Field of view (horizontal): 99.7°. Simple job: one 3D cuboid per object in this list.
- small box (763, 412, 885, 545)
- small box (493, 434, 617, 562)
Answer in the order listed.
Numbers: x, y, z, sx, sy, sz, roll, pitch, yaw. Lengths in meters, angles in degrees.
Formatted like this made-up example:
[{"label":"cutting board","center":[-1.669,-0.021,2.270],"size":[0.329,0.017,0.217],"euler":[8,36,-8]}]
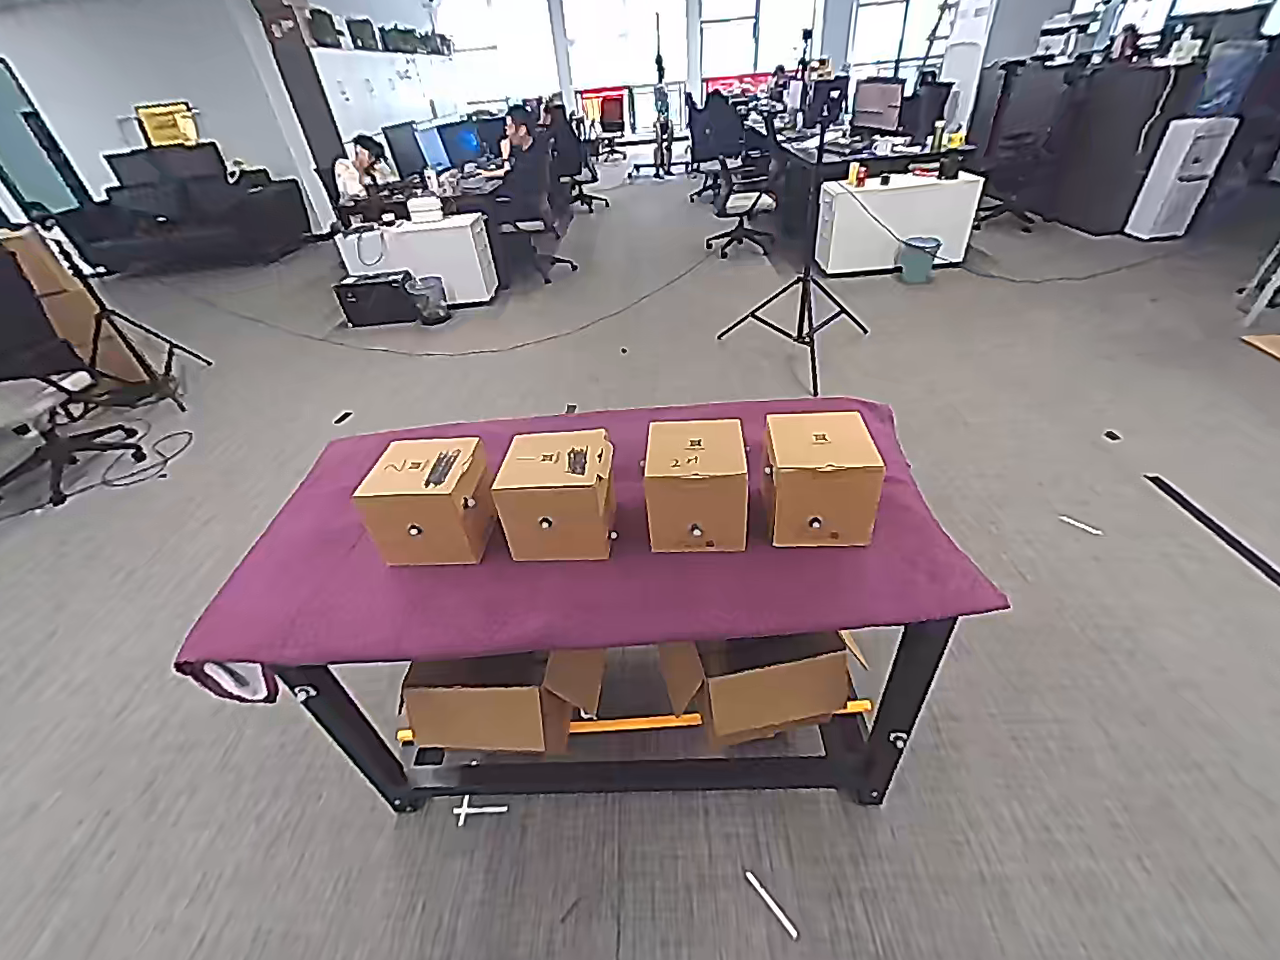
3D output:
[{"label":"small box","center":[0.311,-0.004,0.956],"size":[0.168,0.176,0.179],"euler":[-2,36,7]},{"label":"small box","center":[-0.141,0.034,0.978],"size":[0.179,0.176,0.168],"euler":[-3,37,7]}]
